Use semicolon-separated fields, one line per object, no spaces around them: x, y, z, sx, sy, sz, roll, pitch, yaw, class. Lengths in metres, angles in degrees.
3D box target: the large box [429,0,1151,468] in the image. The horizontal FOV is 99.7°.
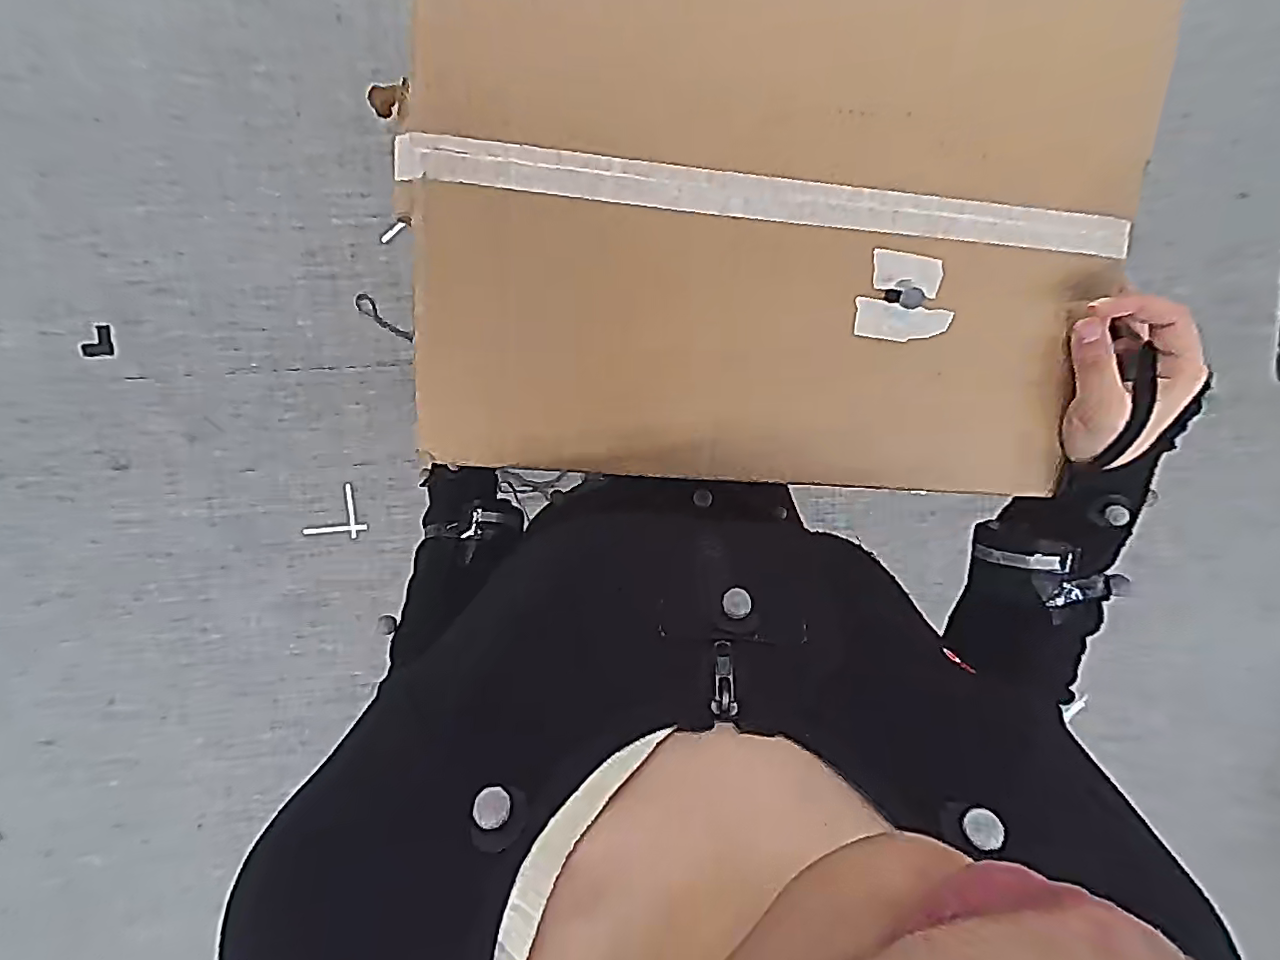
0.067;-0.193;0.449;0.408;0.320;0.320;3;102;-9;large box
